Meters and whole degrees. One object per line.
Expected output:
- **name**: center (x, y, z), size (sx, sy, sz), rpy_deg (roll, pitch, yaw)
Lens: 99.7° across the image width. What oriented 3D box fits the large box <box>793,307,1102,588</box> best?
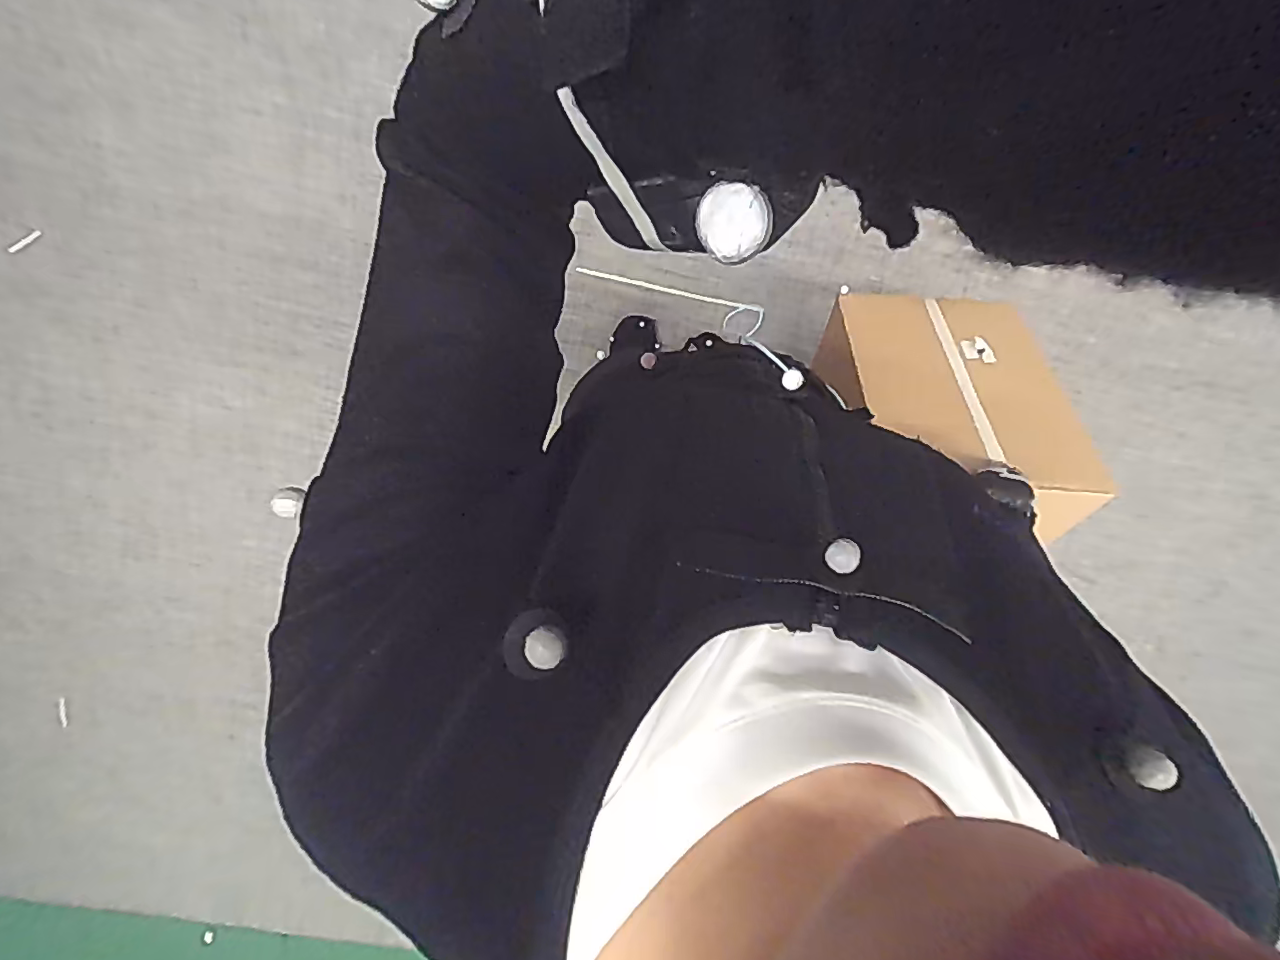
- **large box**: center (0.484, -0.054, 0.971), size (0.320, 0.408, 0.320), rpy_deg (4, 144, -1)
